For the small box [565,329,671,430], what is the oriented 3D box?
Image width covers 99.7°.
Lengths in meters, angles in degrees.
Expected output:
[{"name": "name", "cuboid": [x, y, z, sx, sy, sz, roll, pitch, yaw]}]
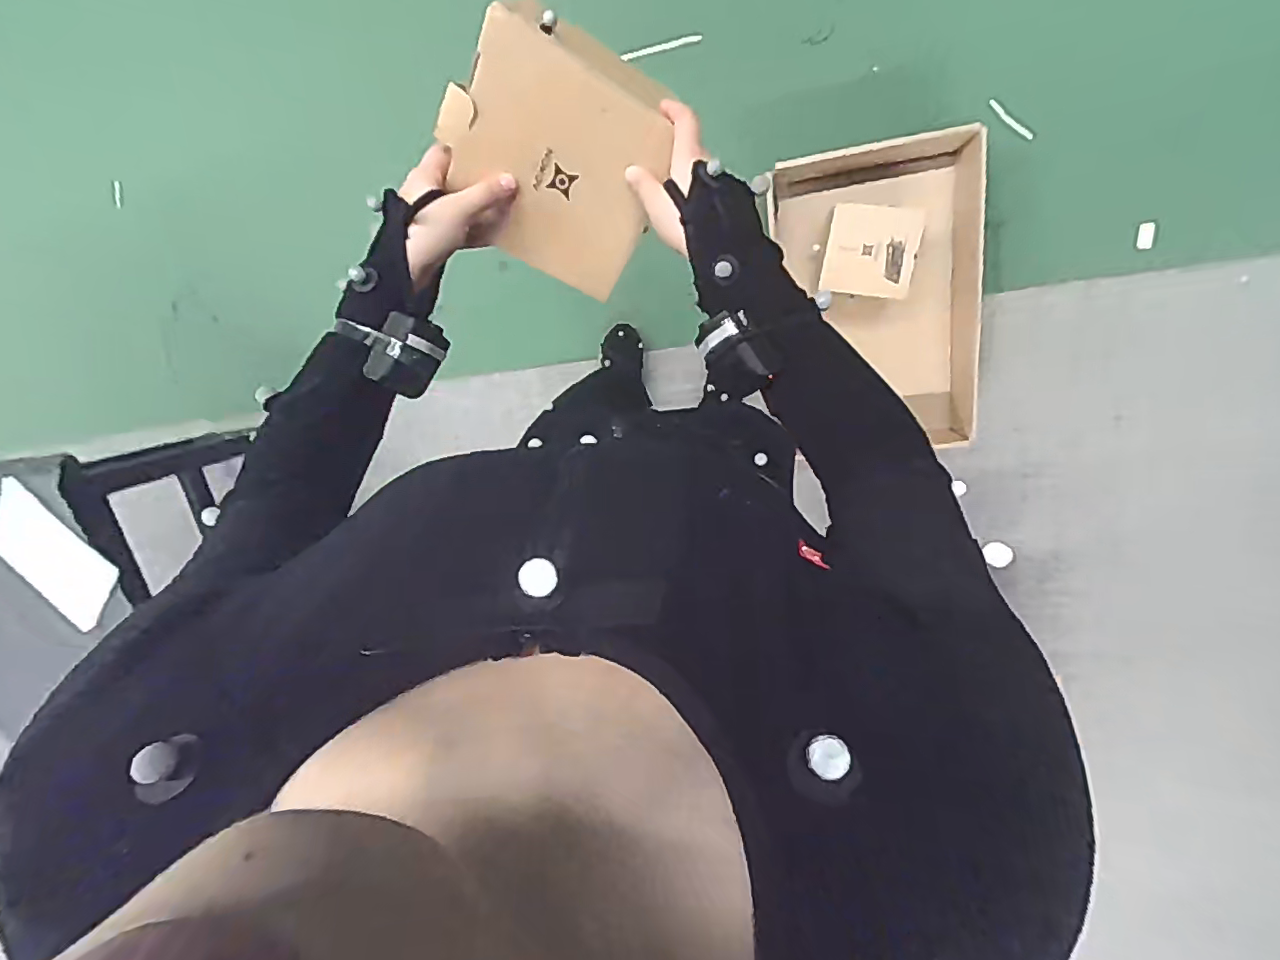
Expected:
[{"name": "small box", "cuboid": [-0.046, -0.251, 1.336, 0.179, 0.168, 0.176, -47, 121, -10]}]

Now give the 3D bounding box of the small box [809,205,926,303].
[{"name": "small box", "cuboid": [0.468, -0.473, 1.143, 0.179, 0.176, 0.168, 10, 110, 9]}]

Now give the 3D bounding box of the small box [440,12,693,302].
[{"name": "small box", "cuboid": [-0.069, -0.313, 0.525, 0.179, 0.176, 0.168, 20, 131, -19]}]
